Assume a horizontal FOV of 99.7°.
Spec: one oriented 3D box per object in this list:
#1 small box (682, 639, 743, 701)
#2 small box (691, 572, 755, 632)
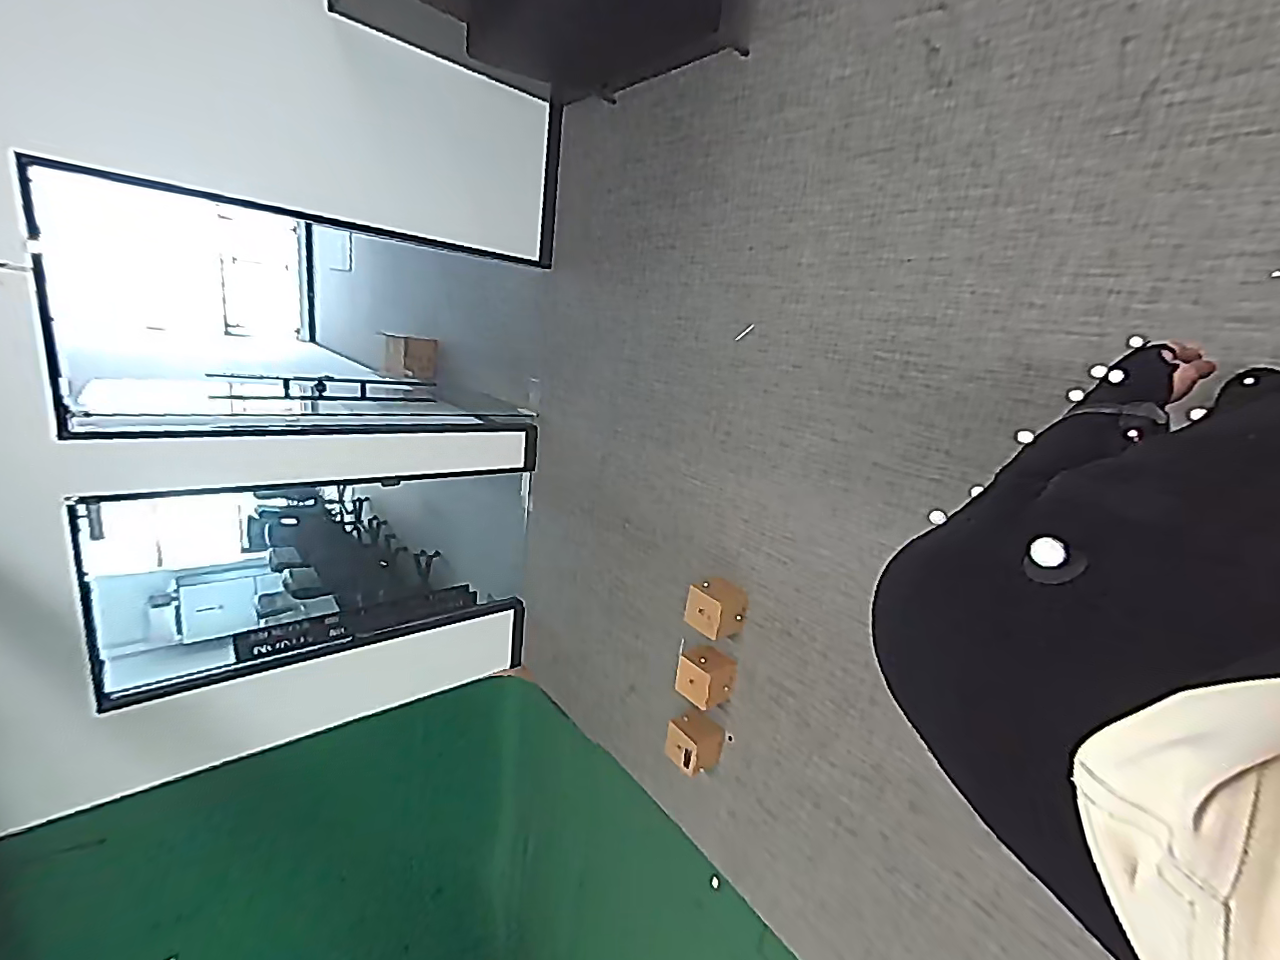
[{"bbox_3d":[0.303,0.789,2.270,0.179,0.176,0.168,22,111,46],"label":"small box"},{"bbox_3d":[0.336,0.486,2.190,0.179,0.176,0.168,26,114,46],"label":"small box"}]
